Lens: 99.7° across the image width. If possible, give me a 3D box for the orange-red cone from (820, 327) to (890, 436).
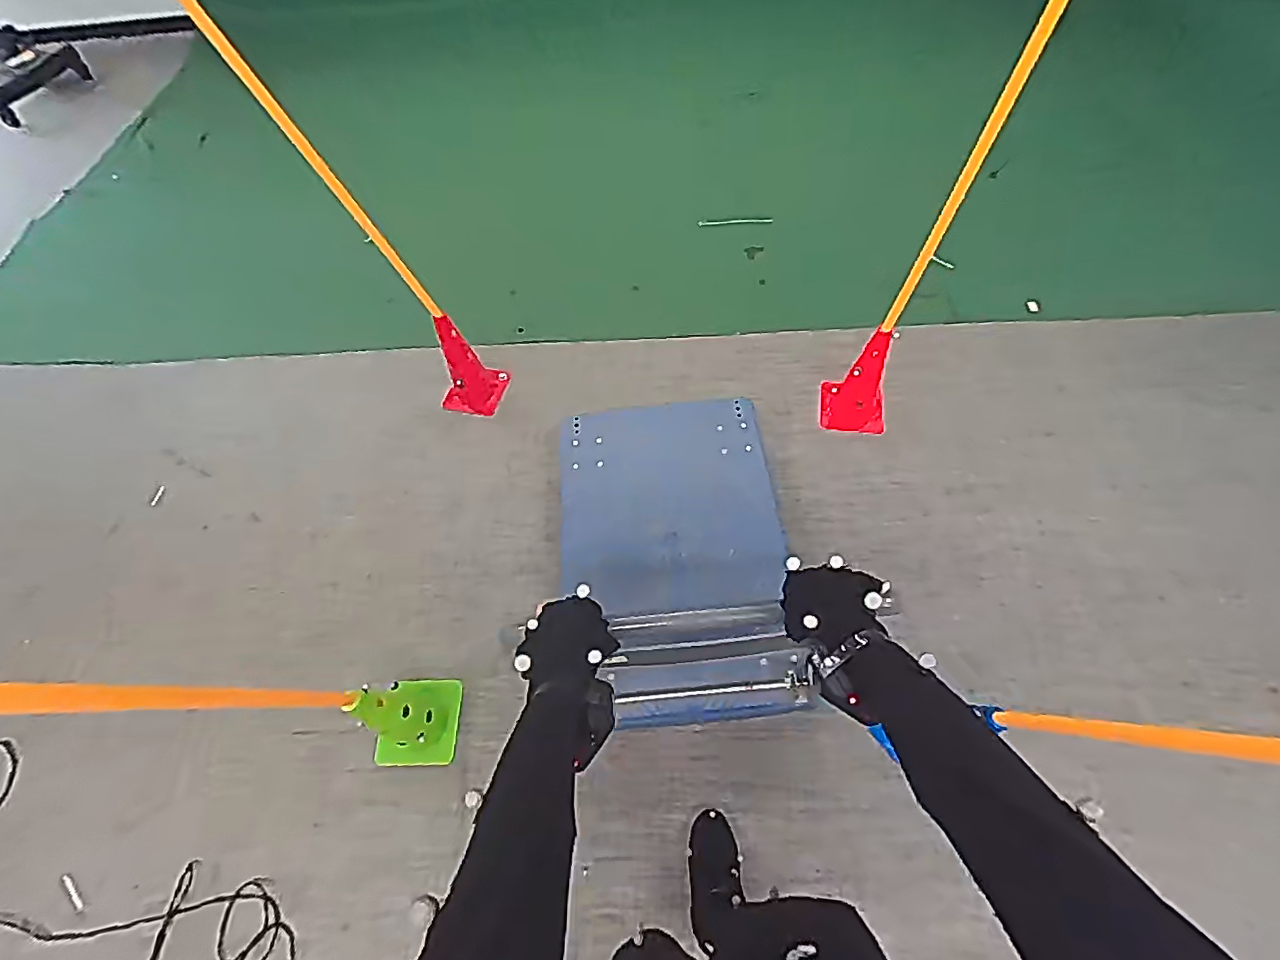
[{"bbox_3d":[0.684,-0.316,1.631,0.198,0.360,0.199,8,62,10],"label":"orange-red cone"}]
